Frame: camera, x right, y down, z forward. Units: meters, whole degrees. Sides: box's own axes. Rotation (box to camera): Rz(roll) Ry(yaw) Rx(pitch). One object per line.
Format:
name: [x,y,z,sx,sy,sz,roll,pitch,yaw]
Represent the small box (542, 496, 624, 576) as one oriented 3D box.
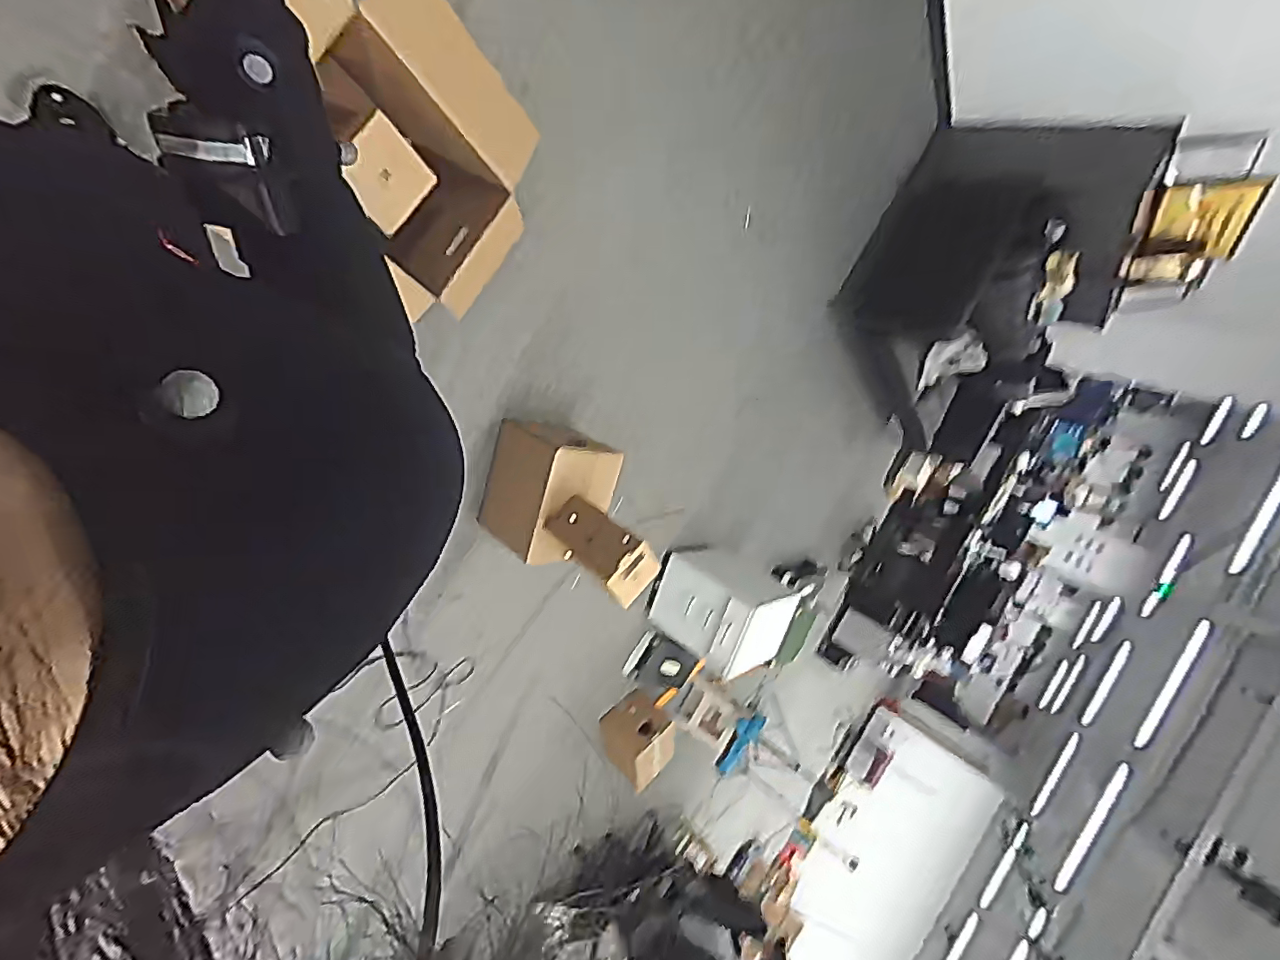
small box: [-0.188,0.174,1.766,0.168,0.176,0.179,-46,139,-18]
